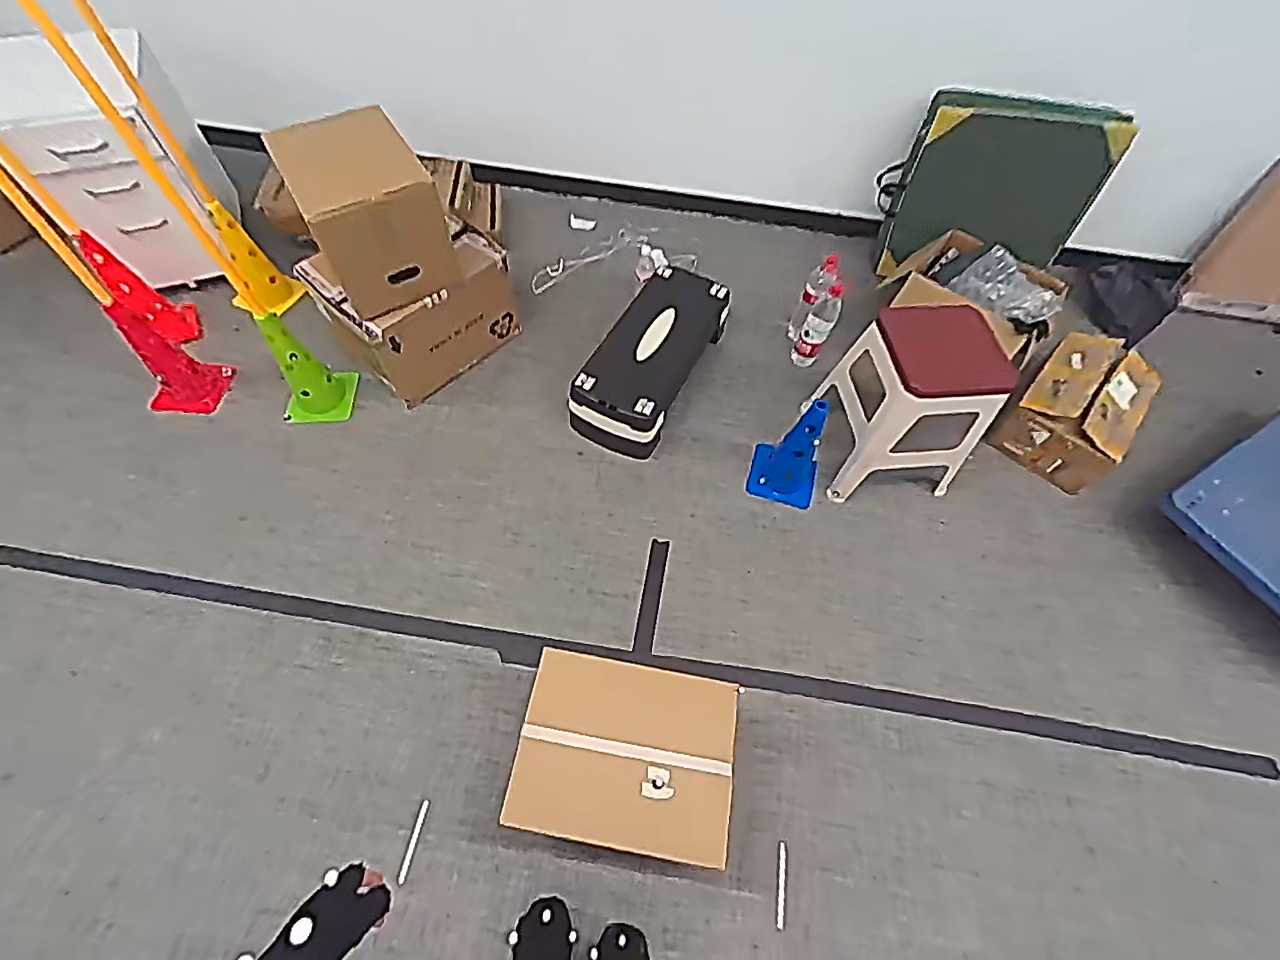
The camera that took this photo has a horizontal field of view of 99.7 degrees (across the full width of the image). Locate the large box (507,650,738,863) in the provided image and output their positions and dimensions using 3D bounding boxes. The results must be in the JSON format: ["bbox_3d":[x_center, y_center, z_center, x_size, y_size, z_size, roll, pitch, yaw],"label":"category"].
[{"bbox_3d":[-0.031,0.584,1.152,0.408,0.320,0.320,11,60,1],"label":"large box"}]
